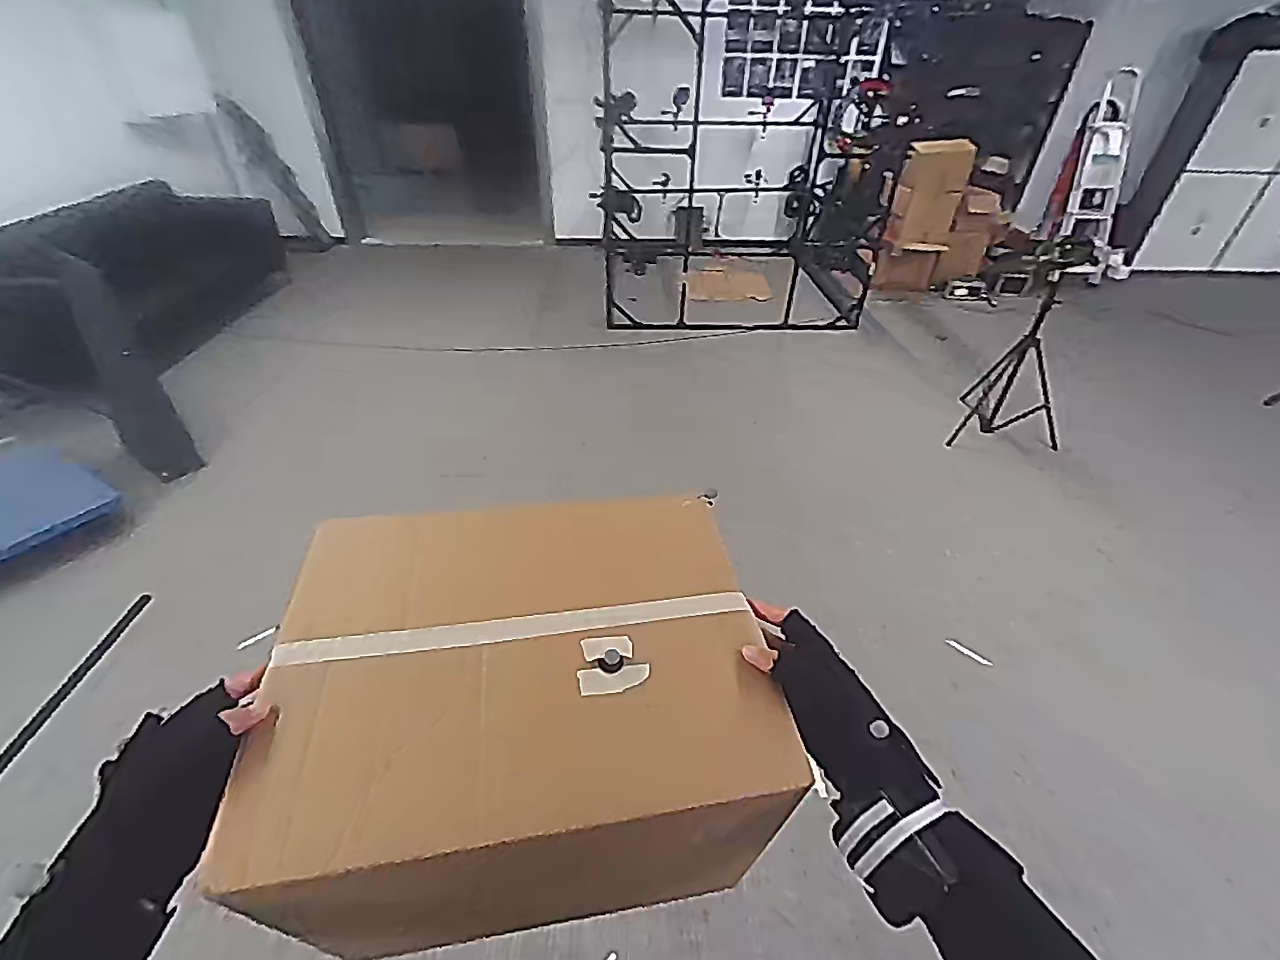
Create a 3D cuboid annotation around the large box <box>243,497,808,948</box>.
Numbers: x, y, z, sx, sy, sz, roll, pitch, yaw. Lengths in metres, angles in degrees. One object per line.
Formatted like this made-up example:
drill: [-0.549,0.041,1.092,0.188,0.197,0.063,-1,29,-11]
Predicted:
large box: [-0.101,0.244,0.585,0.408,0.320,0.320,-3,43,-10]
